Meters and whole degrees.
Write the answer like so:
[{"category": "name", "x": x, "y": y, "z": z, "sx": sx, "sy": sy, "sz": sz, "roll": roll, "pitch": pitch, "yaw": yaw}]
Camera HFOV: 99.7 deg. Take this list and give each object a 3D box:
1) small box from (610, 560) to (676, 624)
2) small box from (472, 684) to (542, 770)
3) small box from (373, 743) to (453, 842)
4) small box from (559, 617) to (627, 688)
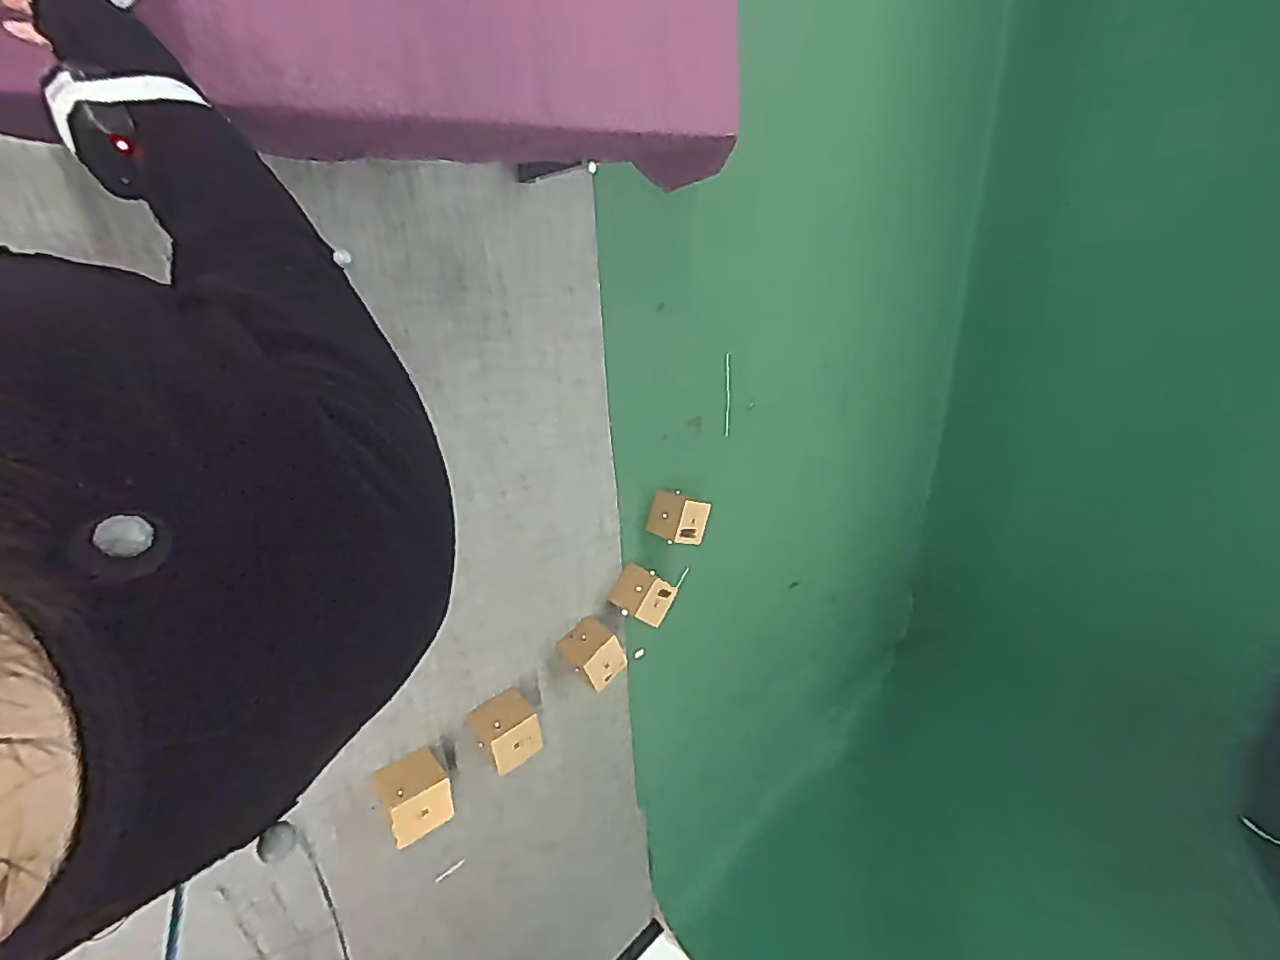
[{"category": "small box", "x": 0.008, "y": 0.447, "z": 2.181, "sx": 0.168, "sy": 0.176, "sz": 0.179, "roll": 40, "pitch": 78, "yaw": -44}, {"category": "small box", "x": -0.467, "y": 0.851, "z": 1.878, "sx": 0.179, "sy": 0.176, "sz": 0.168, "roll": -22, "pitch": 120, "yaw": -36}, {"category": "small box", "x": -0.711, "y": 0.968, "z": 1.695, "sx": 0.179, "sy": 0.176, "sz": 0.168, "roll": -16, "pitch": 115, "yaw": -38}, {"category": "small box", "x": -0.185, "y": 0.649, "z": 2.072, "sx": 0.168, "sy": 0.176, "sz": 0.179, "roll": -39, "pitch": 127, "yaw": -27}]
